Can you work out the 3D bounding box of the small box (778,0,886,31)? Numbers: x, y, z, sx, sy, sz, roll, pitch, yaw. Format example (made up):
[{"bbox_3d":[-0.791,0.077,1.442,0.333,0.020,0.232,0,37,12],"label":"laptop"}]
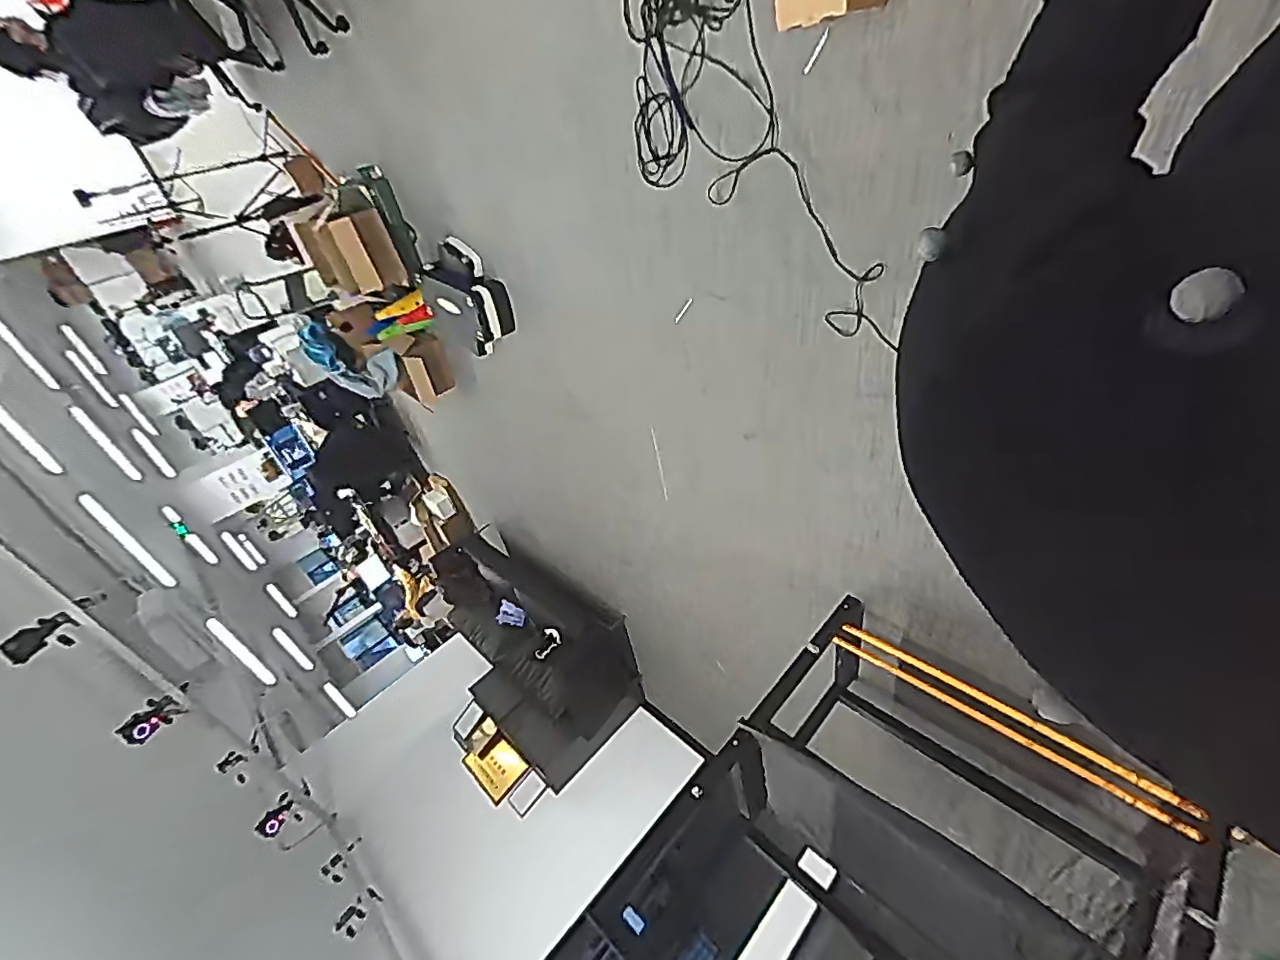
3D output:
[{"bbox_3d":[0.405,-1.071,1.126,0.168,0.176,0.179,24,140,41],"label":"small box"}]
